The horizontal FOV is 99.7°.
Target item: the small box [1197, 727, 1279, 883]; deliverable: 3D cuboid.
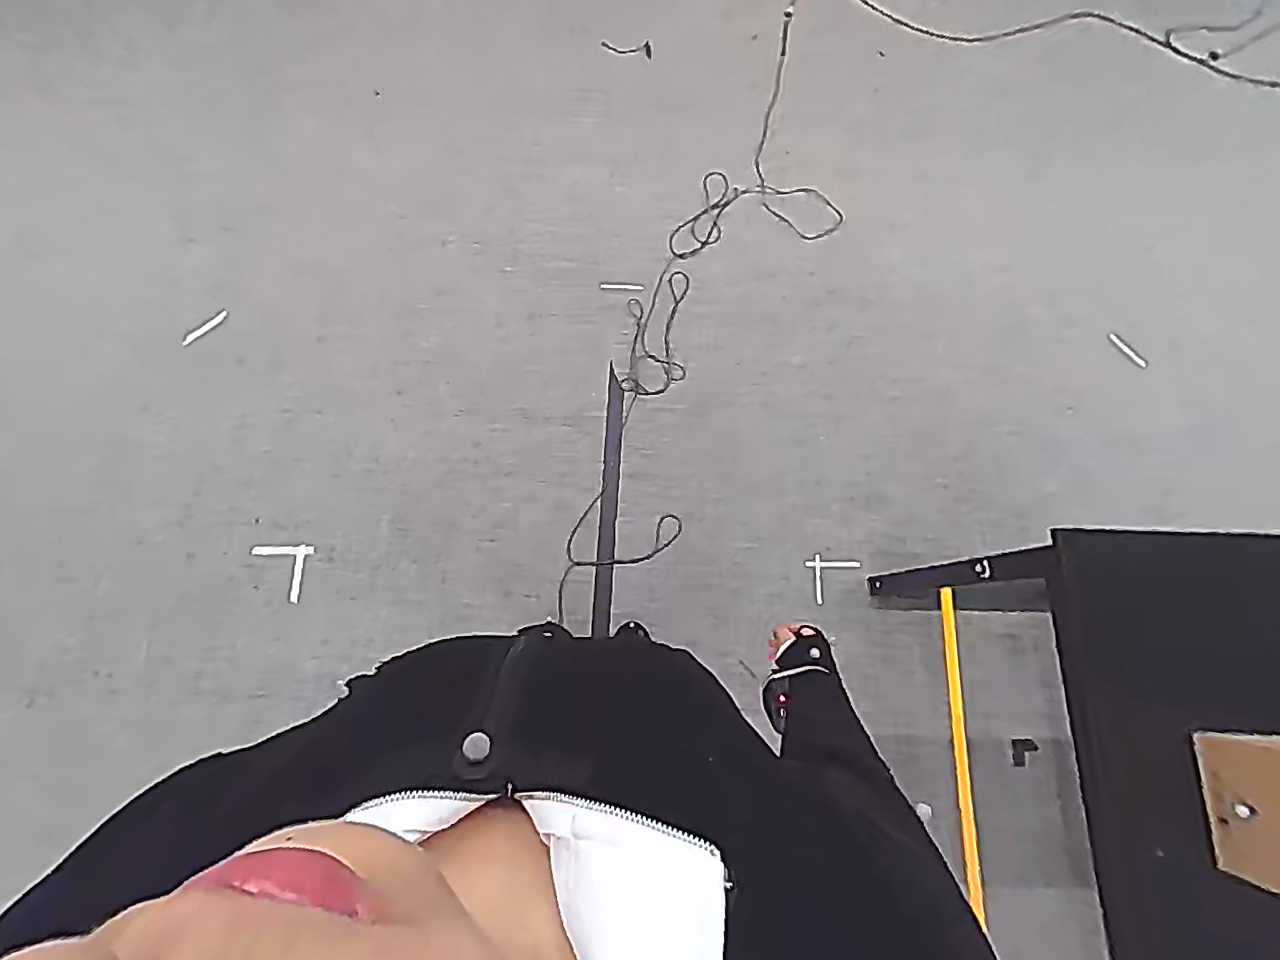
[{"bbox_3d":[0.847,0.402,0.647,0.179,0.176,0.168,3,75,0],"label":"small box"}]
